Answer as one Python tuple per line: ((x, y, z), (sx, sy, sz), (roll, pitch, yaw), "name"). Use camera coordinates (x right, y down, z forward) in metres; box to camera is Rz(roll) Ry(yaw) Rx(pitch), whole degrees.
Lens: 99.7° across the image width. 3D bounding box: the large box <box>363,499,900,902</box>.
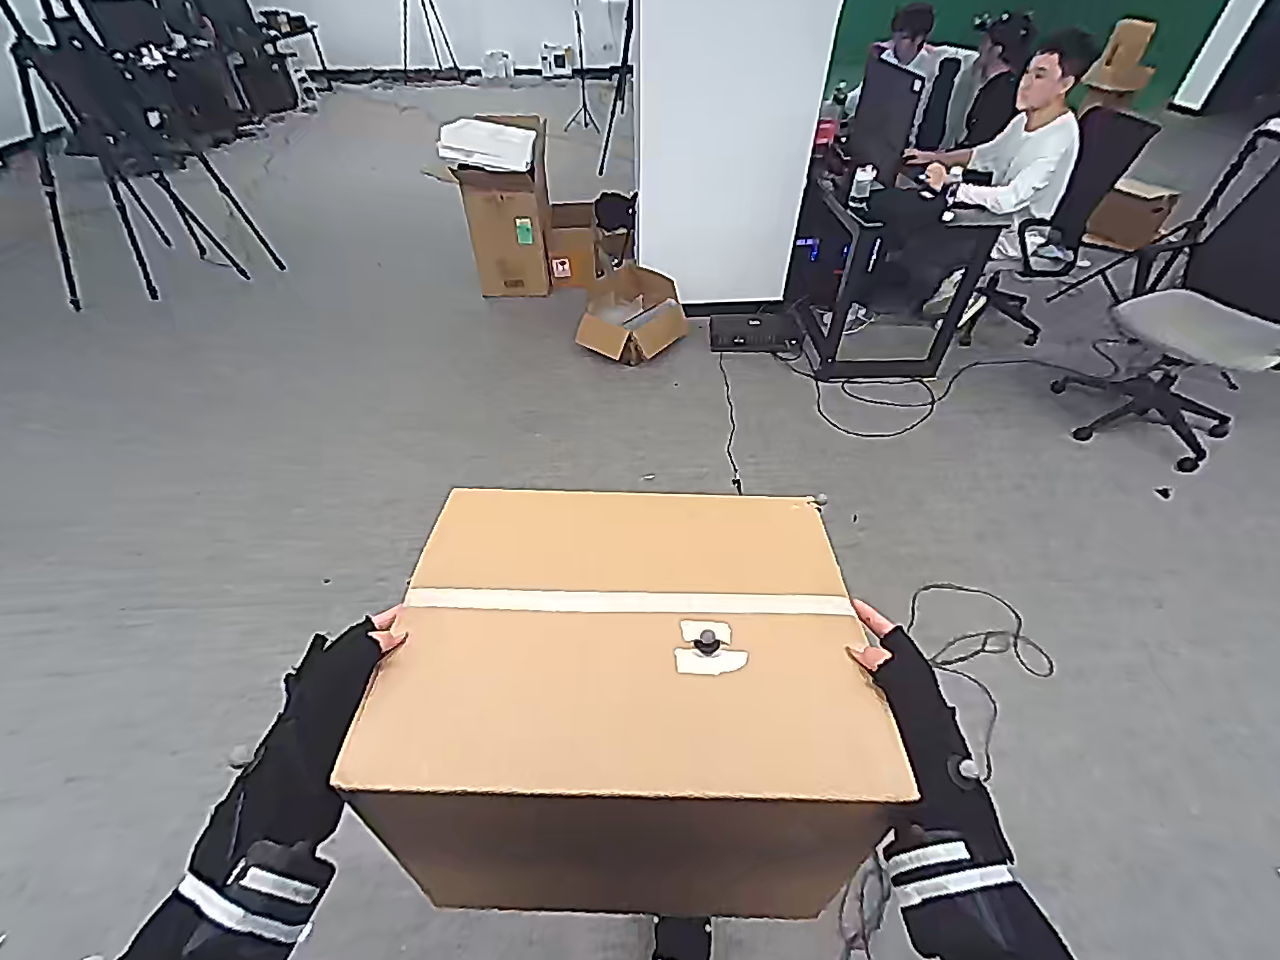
((-0.009, 0.237, 0.600), (0.408, 0.320, 0.320), (2, 39, 0), "large box")
